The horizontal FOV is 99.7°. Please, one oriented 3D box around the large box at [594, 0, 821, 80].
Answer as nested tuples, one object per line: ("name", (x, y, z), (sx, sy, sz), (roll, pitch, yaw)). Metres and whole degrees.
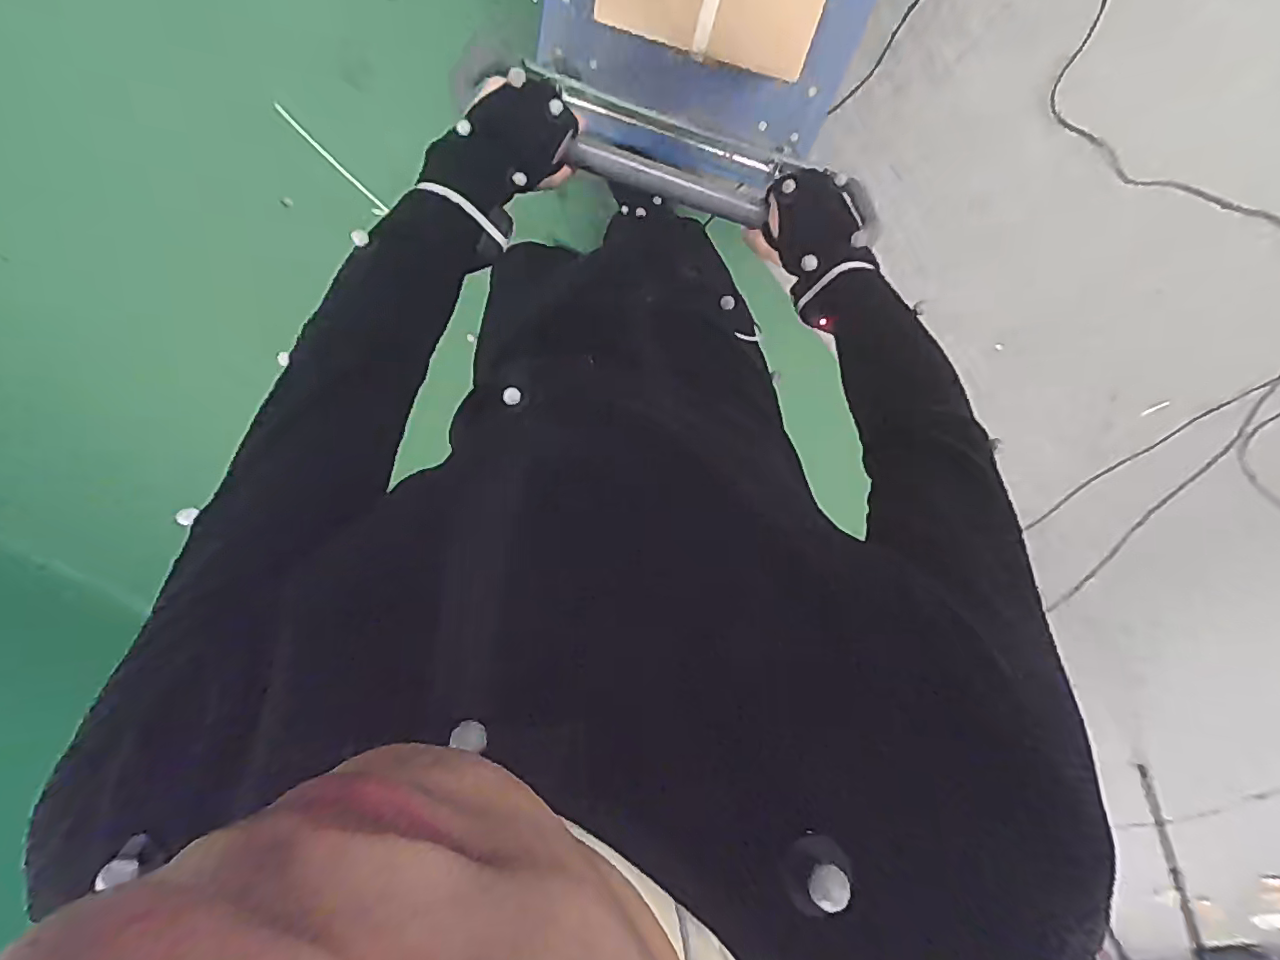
("large box", (0.134, -0.869, 0.789), (0.320, 0.320, 0.408), (13, 128, -7))
